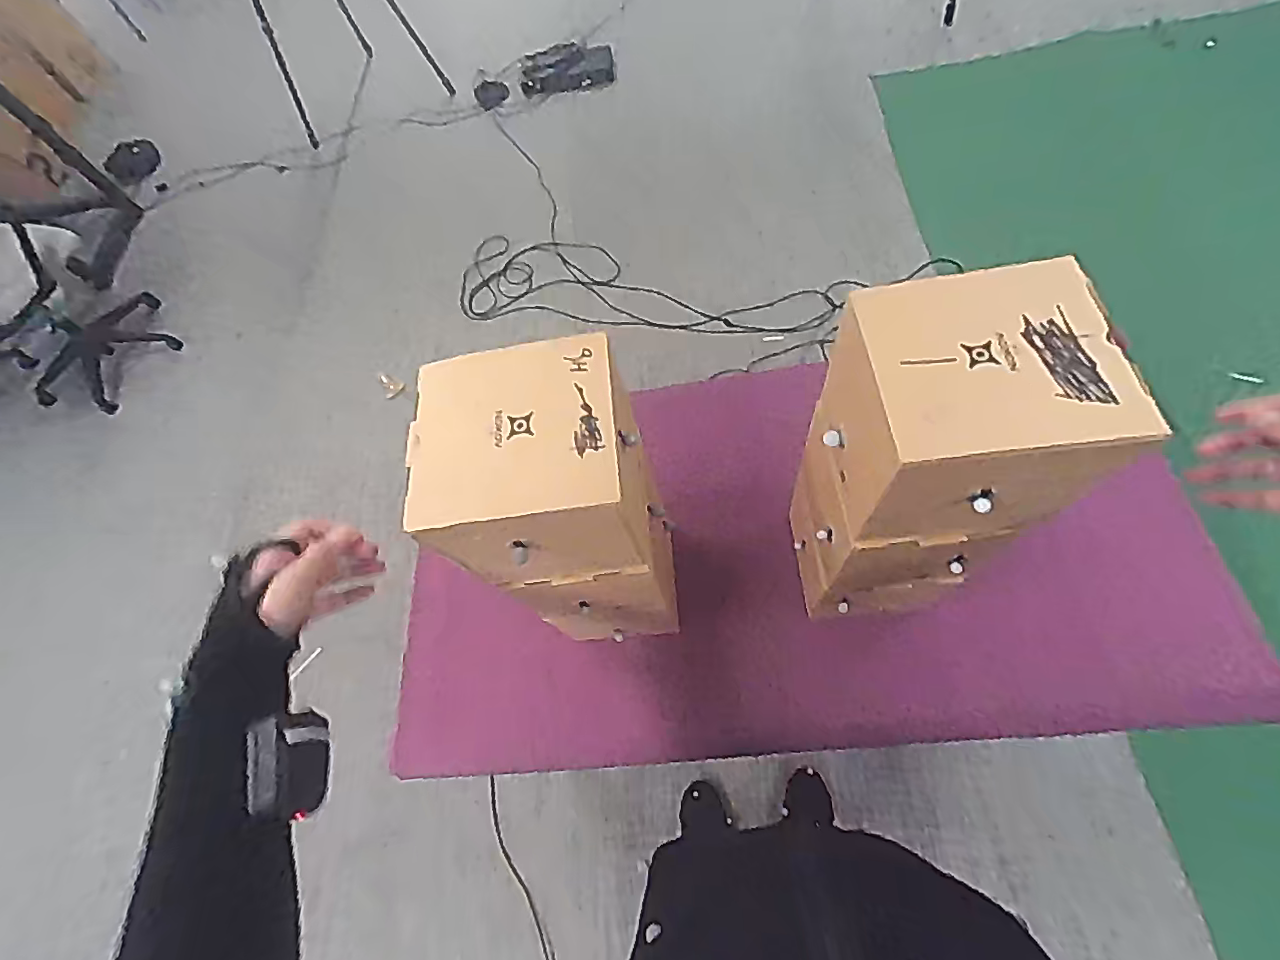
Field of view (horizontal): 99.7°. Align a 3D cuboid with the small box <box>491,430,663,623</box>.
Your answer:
[{"bbox_3d":[-0.066,0.062,0.652,0.168,0.176,0.179,-7,64,6],"label":"small box"}]

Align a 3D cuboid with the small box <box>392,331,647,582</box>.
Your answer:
[{"bbox_3d":[-0.095,-0.010,0.506,0.179,0.176,0.168,-7,63,6],"label":"small box"}]

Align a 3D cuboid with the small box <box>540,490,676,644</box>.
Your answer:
[{"bbox_3d":[-0.040,0.134,0.795,0.168,0.176,0.179,-7,64,7],"label":"small box"}]

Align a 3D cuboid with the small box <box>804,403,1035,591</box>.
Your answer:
[{"bbox_3d":[0.290,0.021,0.609,0.168,0.176,0.179,-7,63,6],"label":"small box"}]

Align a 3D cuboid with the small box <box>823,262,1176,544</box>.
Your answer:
[{"bbox_3d":[0.271,-0.053,0.464,0.179,0.176,0.168,-6,63,7],"label":"small box"}]
